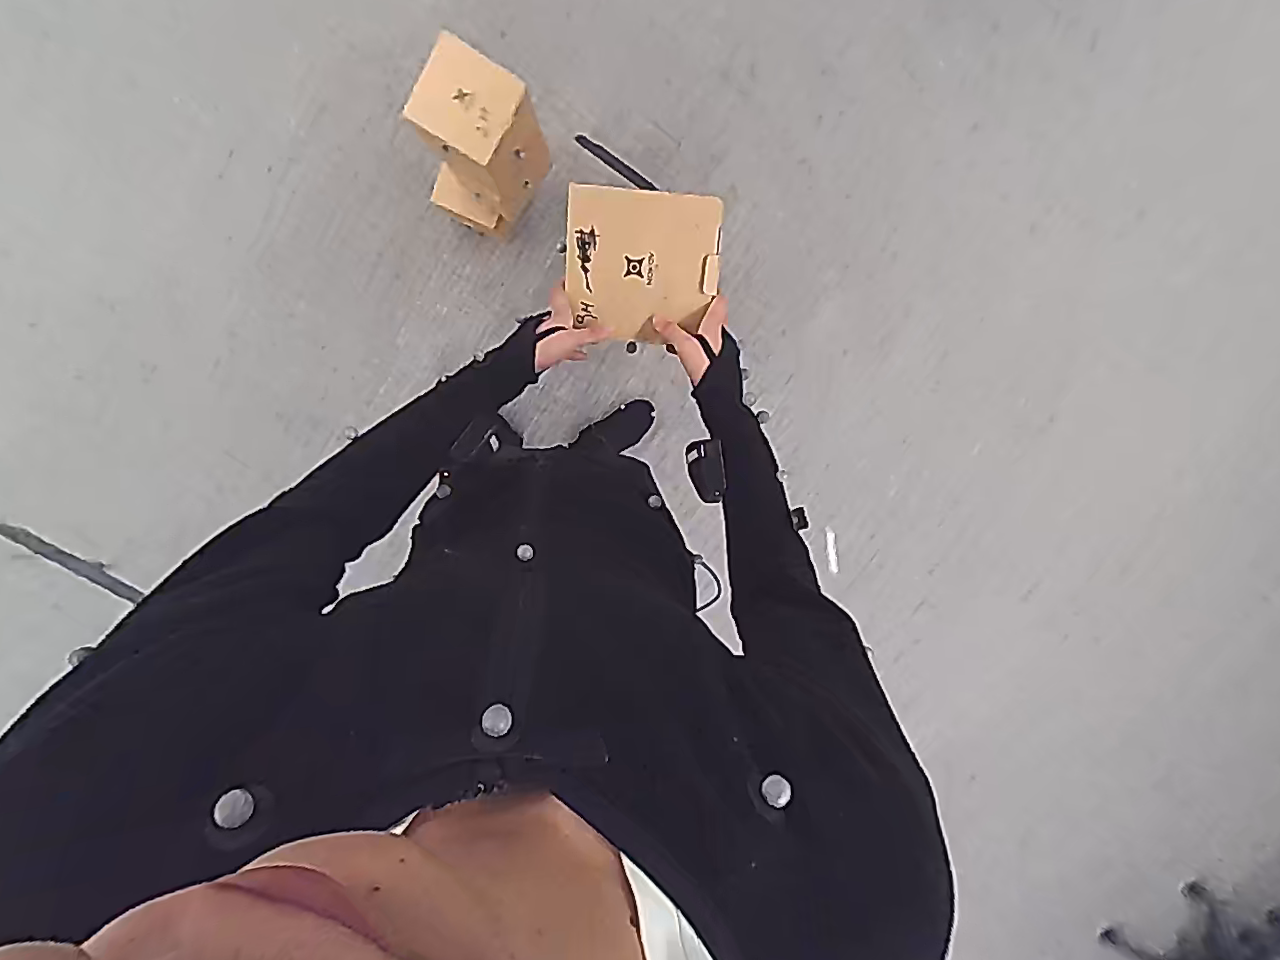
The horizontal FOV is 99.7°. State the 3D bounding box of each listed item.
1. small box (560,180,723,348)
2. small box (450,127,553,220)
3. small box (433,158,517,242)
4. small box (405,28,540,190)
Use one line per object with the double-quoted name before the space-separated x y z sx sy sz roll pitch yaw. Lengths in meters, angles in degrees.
"small box" -0.006 -0.261 0.683 0.179 0.176 0.168 3 105 -4
"small box" -0.312 -0.728 1.219 0.168 0.176 0.179 38 97 -9
"small box" -0.397 -0.741 1.378 0.168 0.176 0.179 23 100 -7
"small box" -0.316 -0.706 1.056 0.179 0.176 0.168 30 98 -8
